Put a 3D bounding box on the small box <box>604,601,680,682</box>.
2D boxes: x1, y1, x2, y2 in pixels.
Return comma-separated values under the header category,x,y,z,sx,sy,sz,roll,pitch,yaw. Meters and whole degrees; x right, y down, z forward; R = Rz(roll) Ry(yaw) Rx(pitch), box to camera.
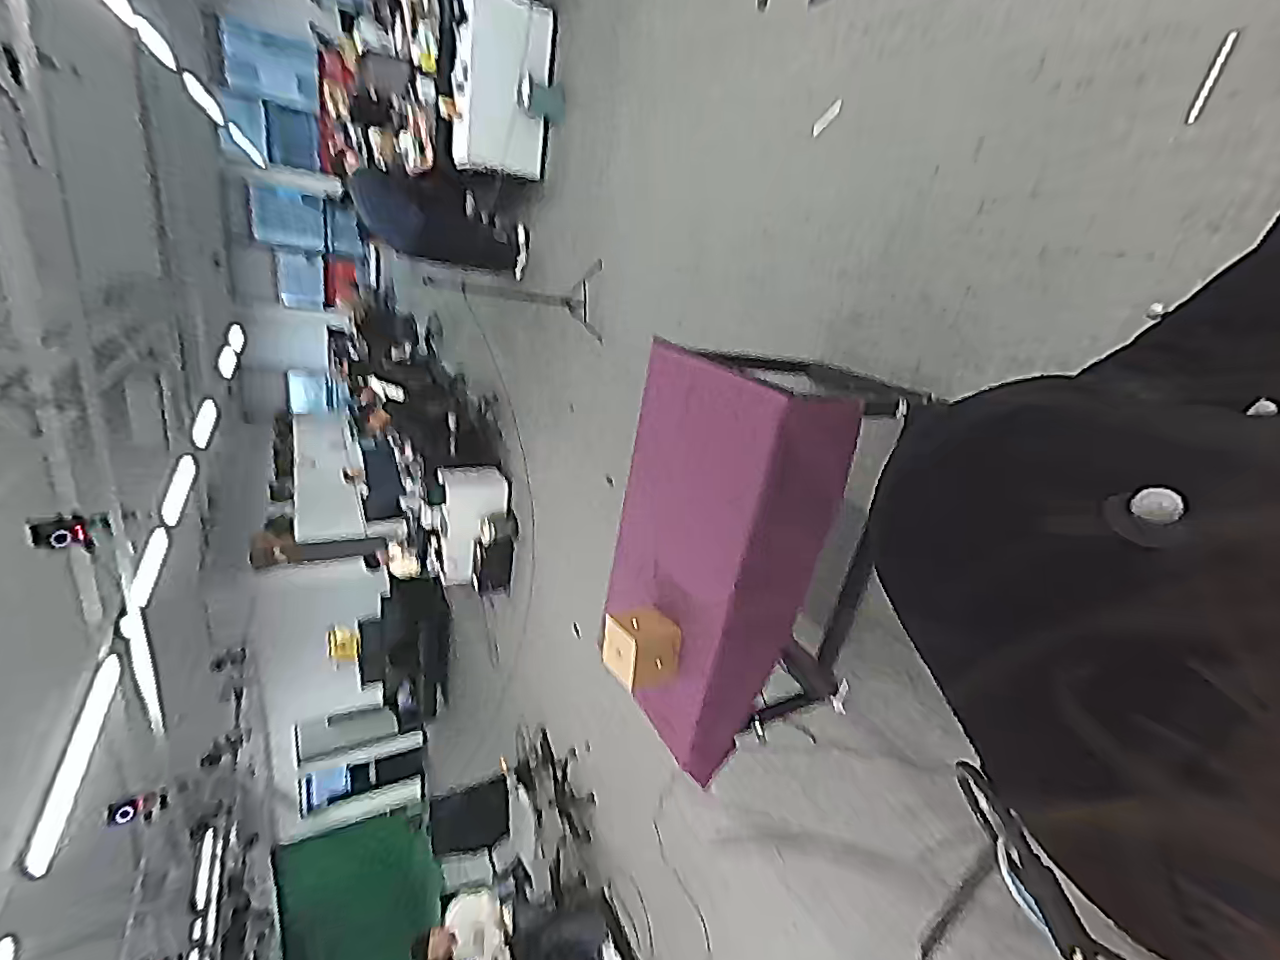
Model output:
category,x,y,z,sx,sy,sz,roll,pitch,yaw
small box,0.006,0.494,1.690,0.179,0.176,0.168,28,116,54
